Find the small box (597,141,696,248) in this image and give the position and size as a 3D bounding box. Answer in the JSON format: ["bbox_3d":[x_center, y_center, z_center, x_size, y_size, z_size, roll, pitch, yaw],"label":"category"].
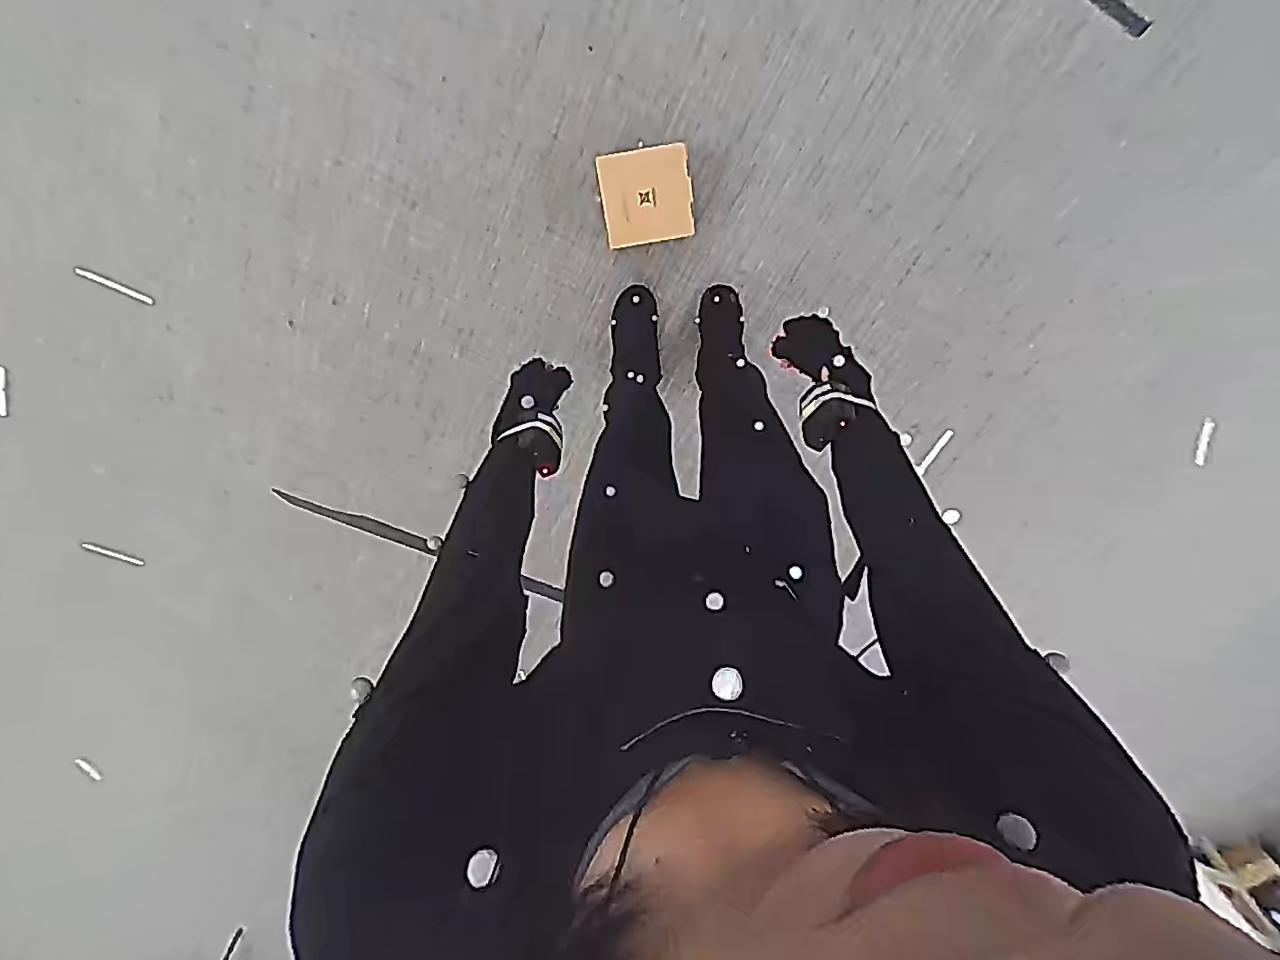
[{"bbox_3d":[0.012,-0.586,1.114,0.179,0.176,0.168,-9,117,3],"label":"small box"}]
